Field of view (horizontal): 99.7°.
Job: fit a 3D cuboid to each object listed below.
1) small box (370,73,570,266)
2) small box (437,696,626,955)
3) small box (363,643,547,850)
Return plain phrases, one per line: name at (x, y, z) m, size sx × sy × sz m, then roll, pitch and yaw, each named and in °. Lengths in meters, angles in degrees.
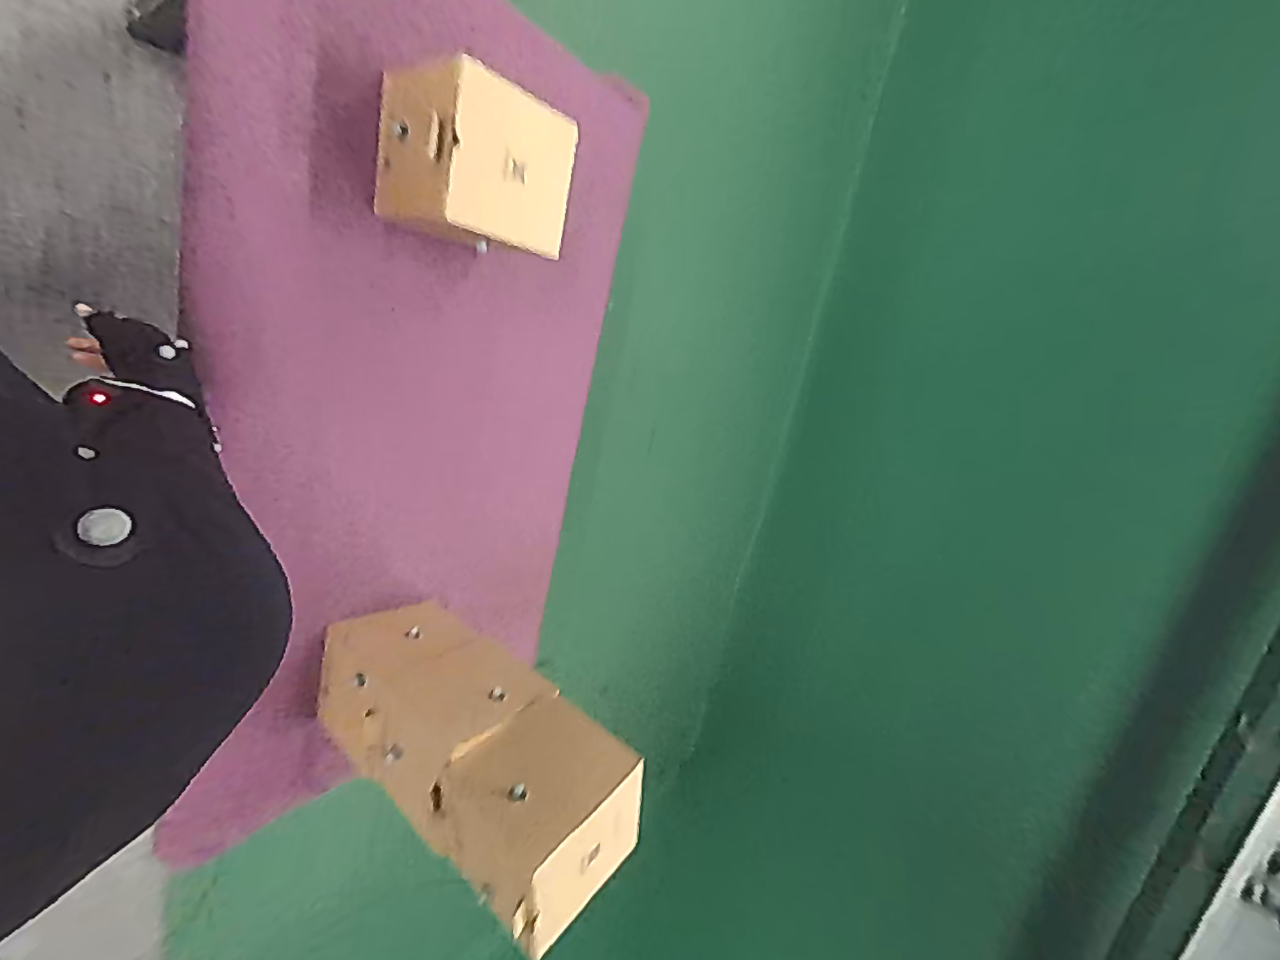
small box at (-0.223, -0.395, 0.712) m, size 0.179 × 0.176 × 0.168 m, roll -5°, pitch 112°, yaw -51°
small box at (-0.140, 0.417, 0.684) m, size 0.179 × 0.176 × 0.168 m, roll -23°, pitch 126°, yaw -47°
small box at (-0.264, 0.361, 0.775) m, size 0.179 × 0.176 × 0.168 m, roll -7°, pitch 113°, yaw -52°
